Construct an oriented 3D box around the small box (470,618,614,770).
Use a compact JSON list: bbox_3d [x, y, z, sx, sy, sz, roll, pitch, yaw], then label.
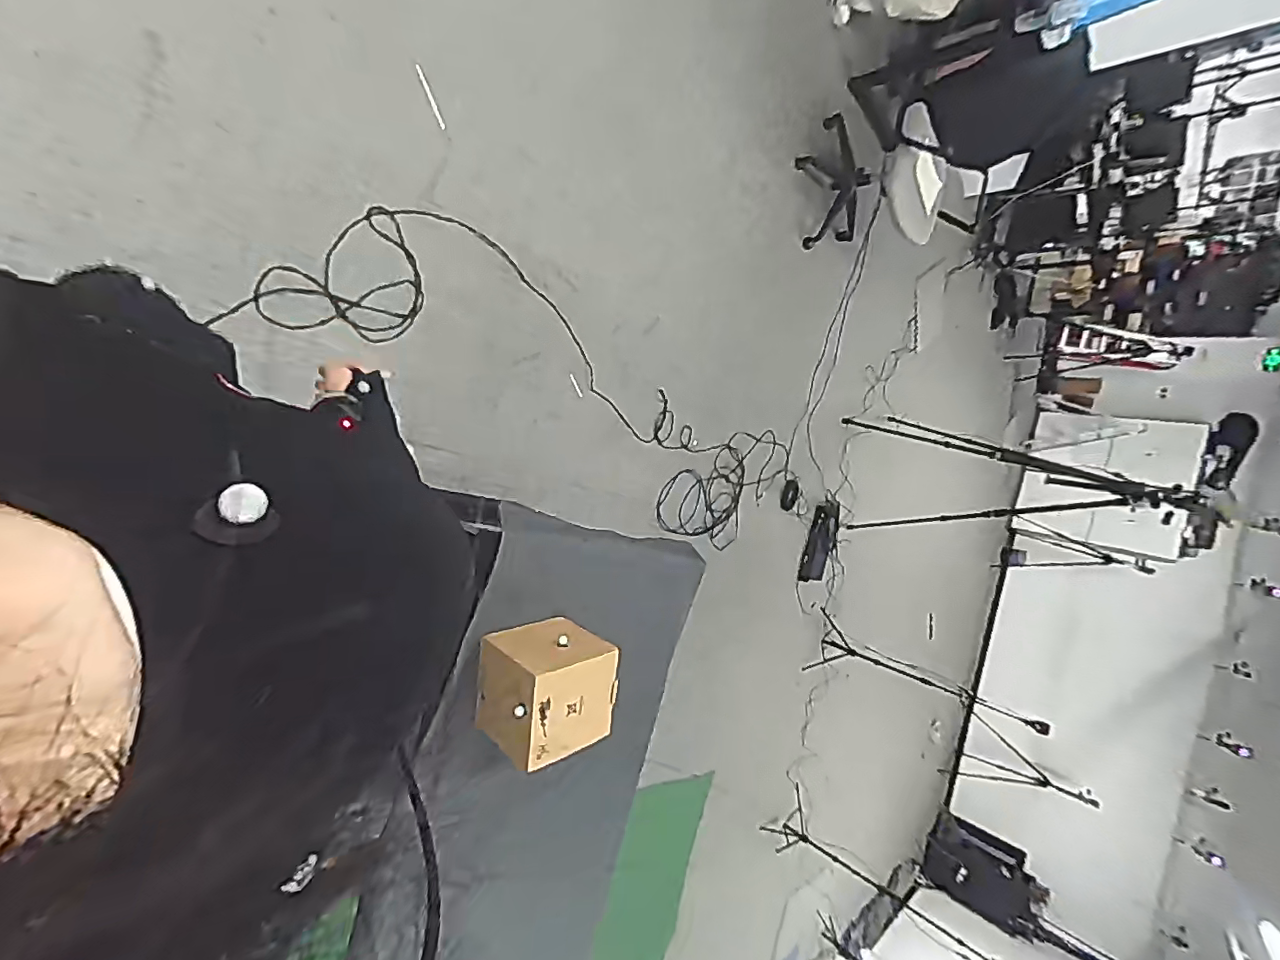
[{"bbox_3d":[-0.172,0.357,0.946,0.179,0.176,0.168,-2,101,-46],"label":"small box"}]
